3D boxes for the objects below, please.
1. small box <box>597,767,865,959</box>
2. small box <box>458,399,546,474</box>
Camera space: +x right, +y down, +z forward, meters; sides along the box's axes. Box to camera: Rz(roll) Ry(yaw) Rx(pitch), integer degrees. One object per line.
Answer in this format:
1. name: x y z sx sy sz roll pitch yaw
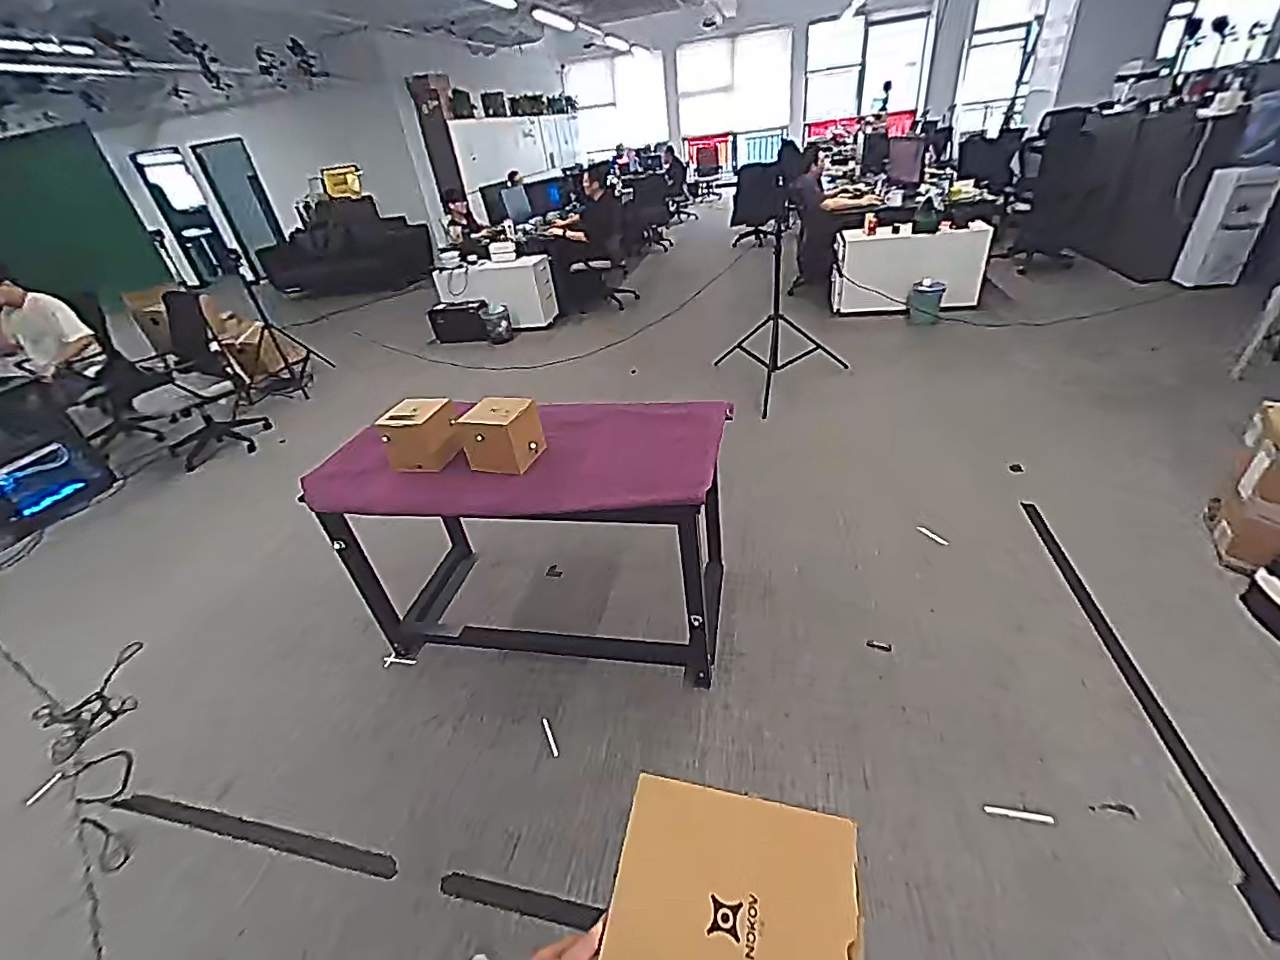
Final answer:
1. small box: 0.073 0.363 0.432 0.179 0.176 0.168 6 42 13
2. small box: -0.407 -0.131 1.621 0.179 0.176 0.168 6 36 20
